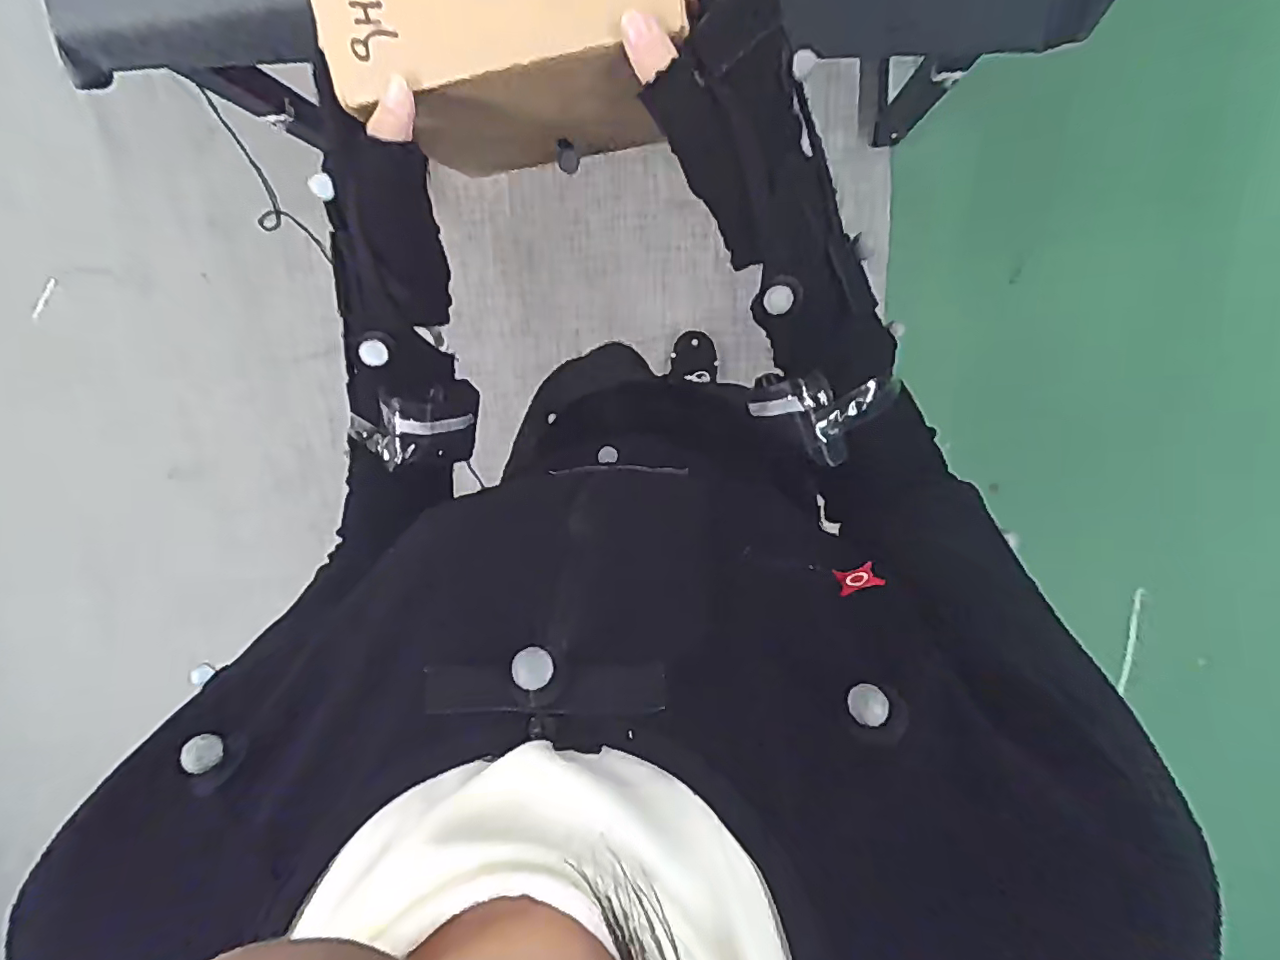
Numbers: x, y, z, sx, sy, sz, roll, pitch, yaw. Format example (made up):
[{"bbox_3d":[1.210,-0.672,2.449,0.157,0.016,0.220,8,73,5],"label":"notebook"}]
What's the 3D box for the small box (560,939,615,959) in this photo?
[{"bbox_3d":[-0.182,1.675,1.794,0.179,0.176,0.168,-3,103,7],"label":"small box"}]
